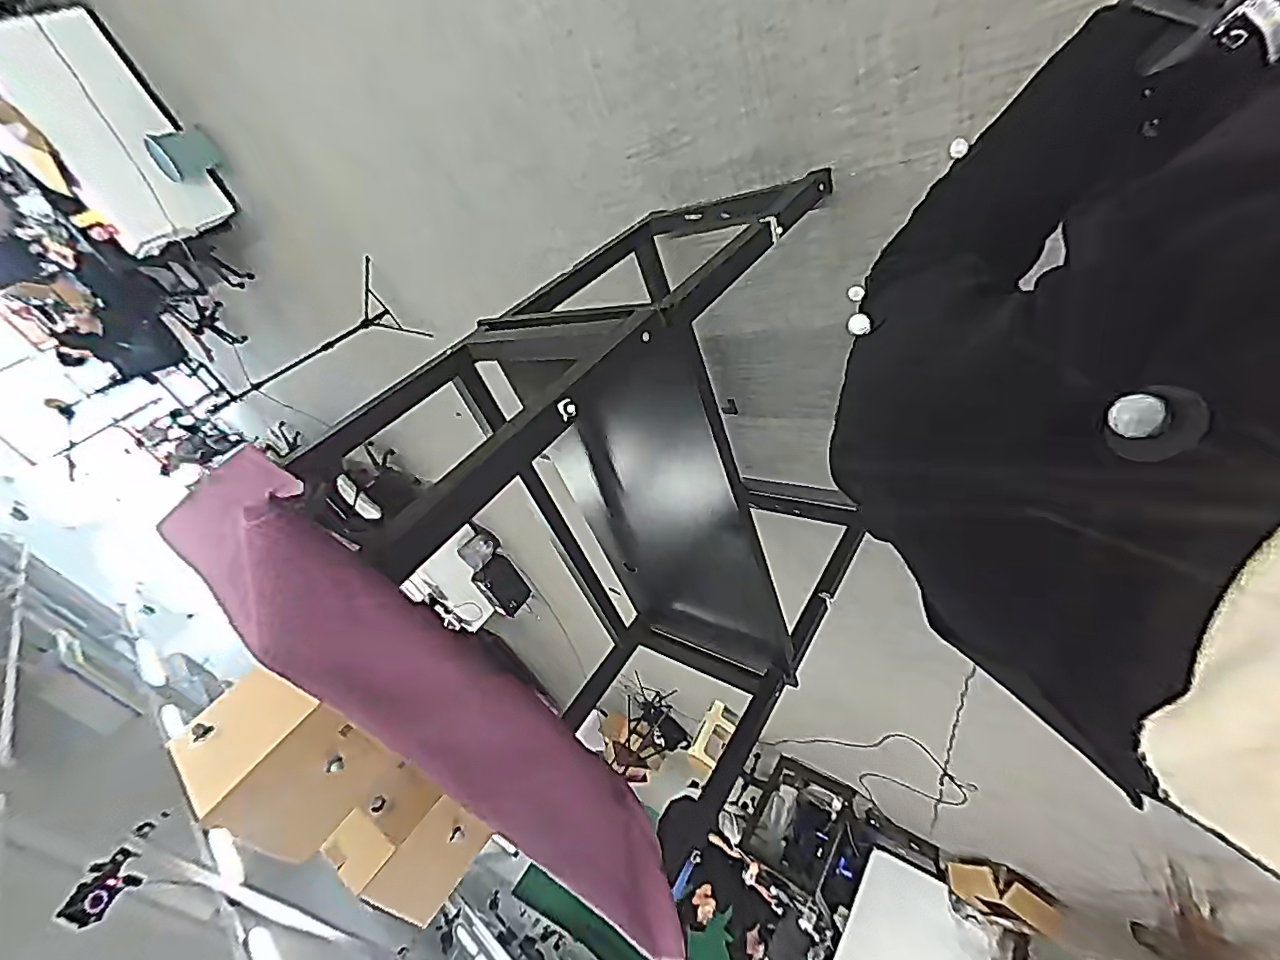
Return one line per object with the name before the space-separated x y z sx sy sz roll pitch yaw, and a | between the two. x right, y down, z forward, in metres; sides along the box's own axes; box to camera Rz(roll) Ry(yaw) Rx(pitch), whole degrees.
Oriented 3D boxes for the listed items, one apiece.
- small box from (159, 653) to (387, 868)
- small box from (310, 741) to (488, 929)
small box | -0.481 0.362 0.727 0.179 0.176 0.168 14 140 39
small box | -0.385 0.564 0.876 0.168 0.176 0.179 14 139 39
